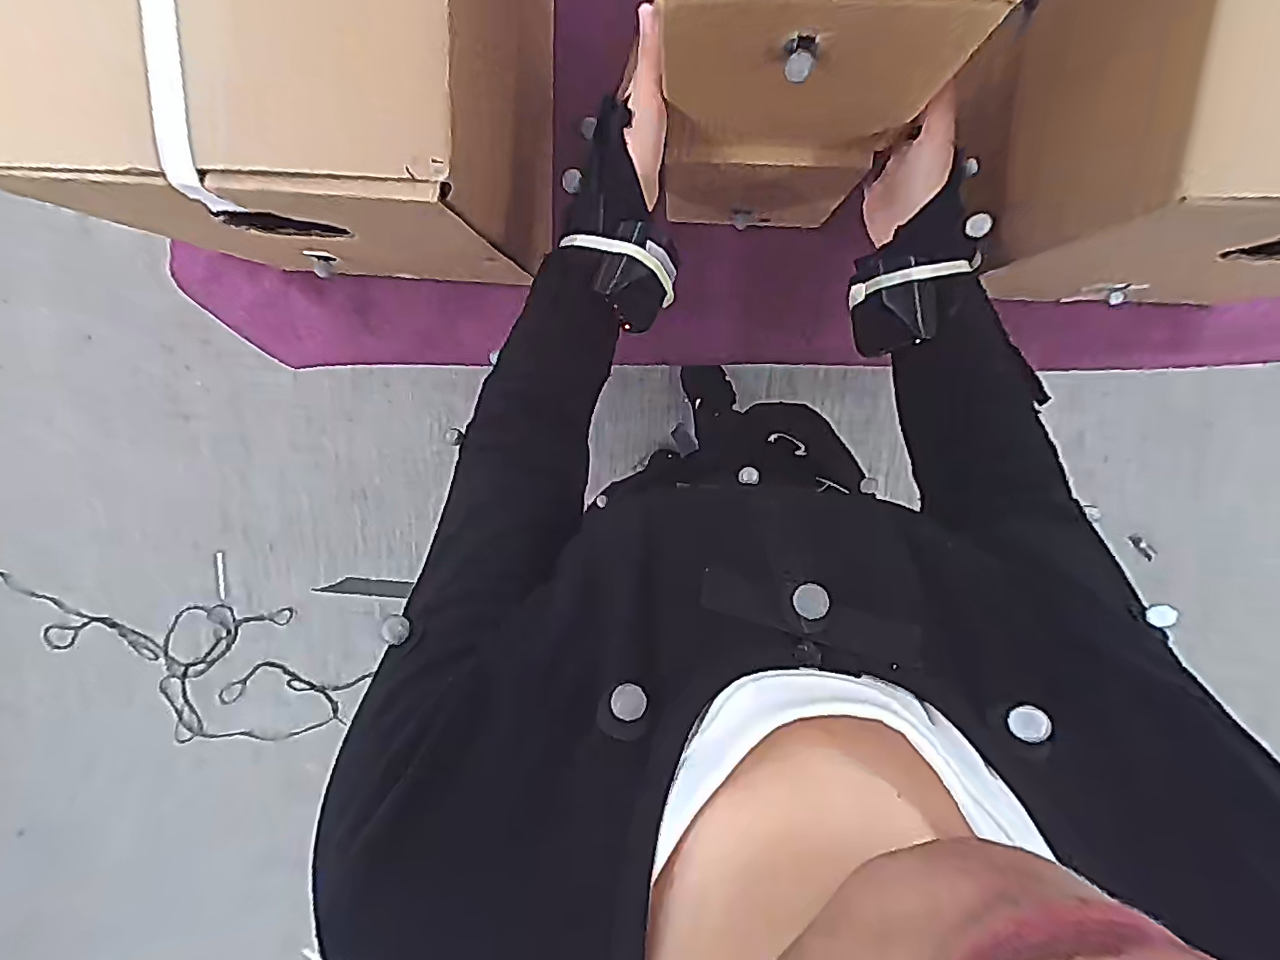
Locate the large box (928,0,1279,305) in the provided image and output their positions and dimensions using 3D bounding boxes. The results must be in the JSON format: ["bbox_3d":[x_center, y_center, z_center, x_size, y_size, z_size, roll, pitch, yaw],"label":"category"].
[{"bbox_3d":[0.451,-0.359,0.398,0.320,0.320,0.408,3,99,3],"label":"large box"}]
